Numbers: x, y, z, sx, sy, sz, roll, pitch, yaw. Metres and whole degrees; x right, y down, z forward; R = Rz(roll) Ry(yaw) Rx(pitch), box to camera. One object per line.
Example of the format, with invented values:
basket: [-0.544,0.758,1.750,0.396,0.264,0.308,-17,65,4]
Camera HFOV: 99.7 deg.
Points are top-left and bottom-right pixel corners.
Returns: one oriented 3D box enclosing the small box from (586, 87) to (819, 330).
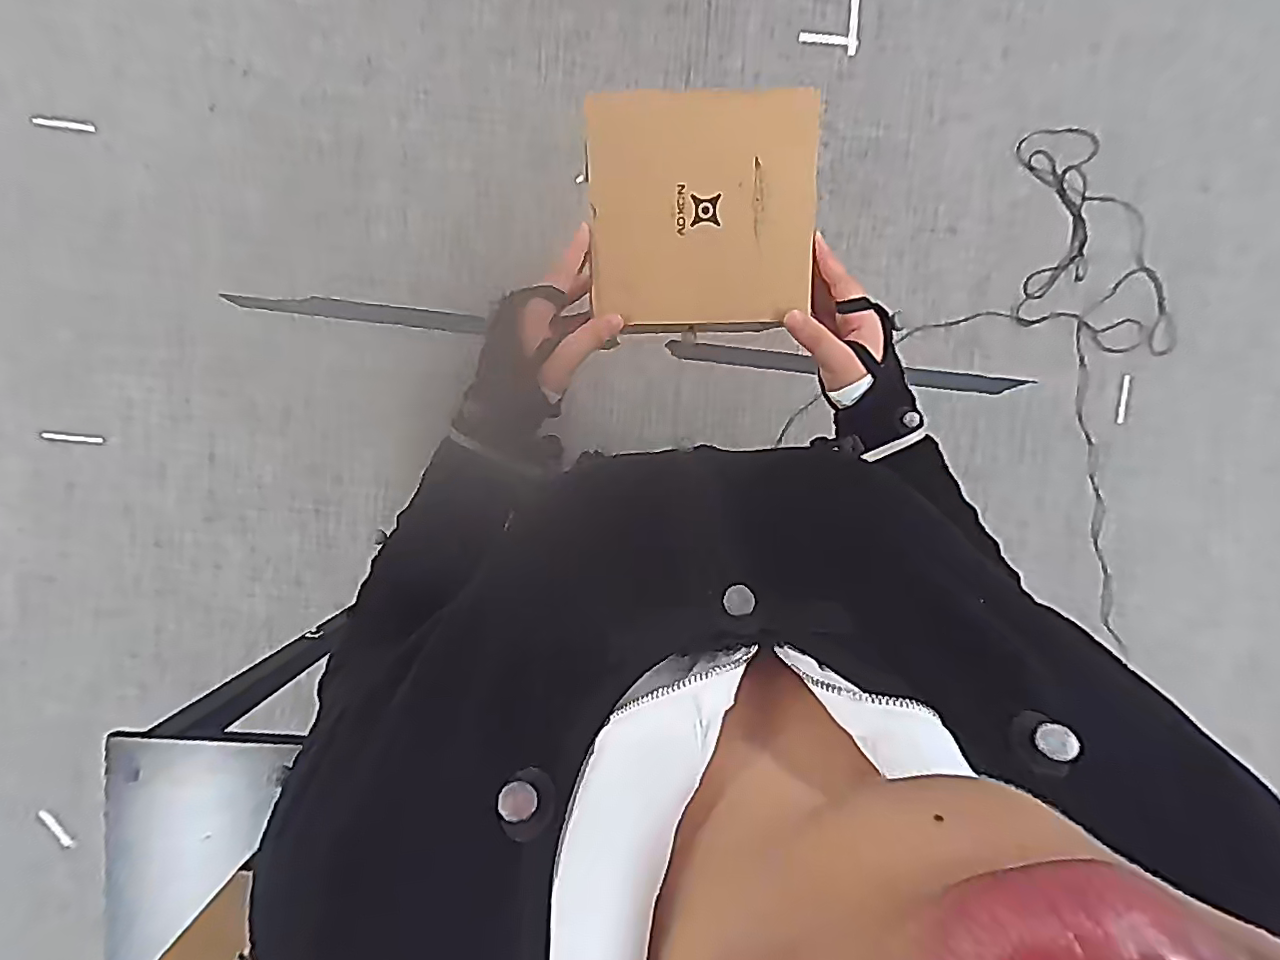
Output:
small box: [0.047,-0.228,0.497,0.179,0.176,0.168,-2,103,-1]
